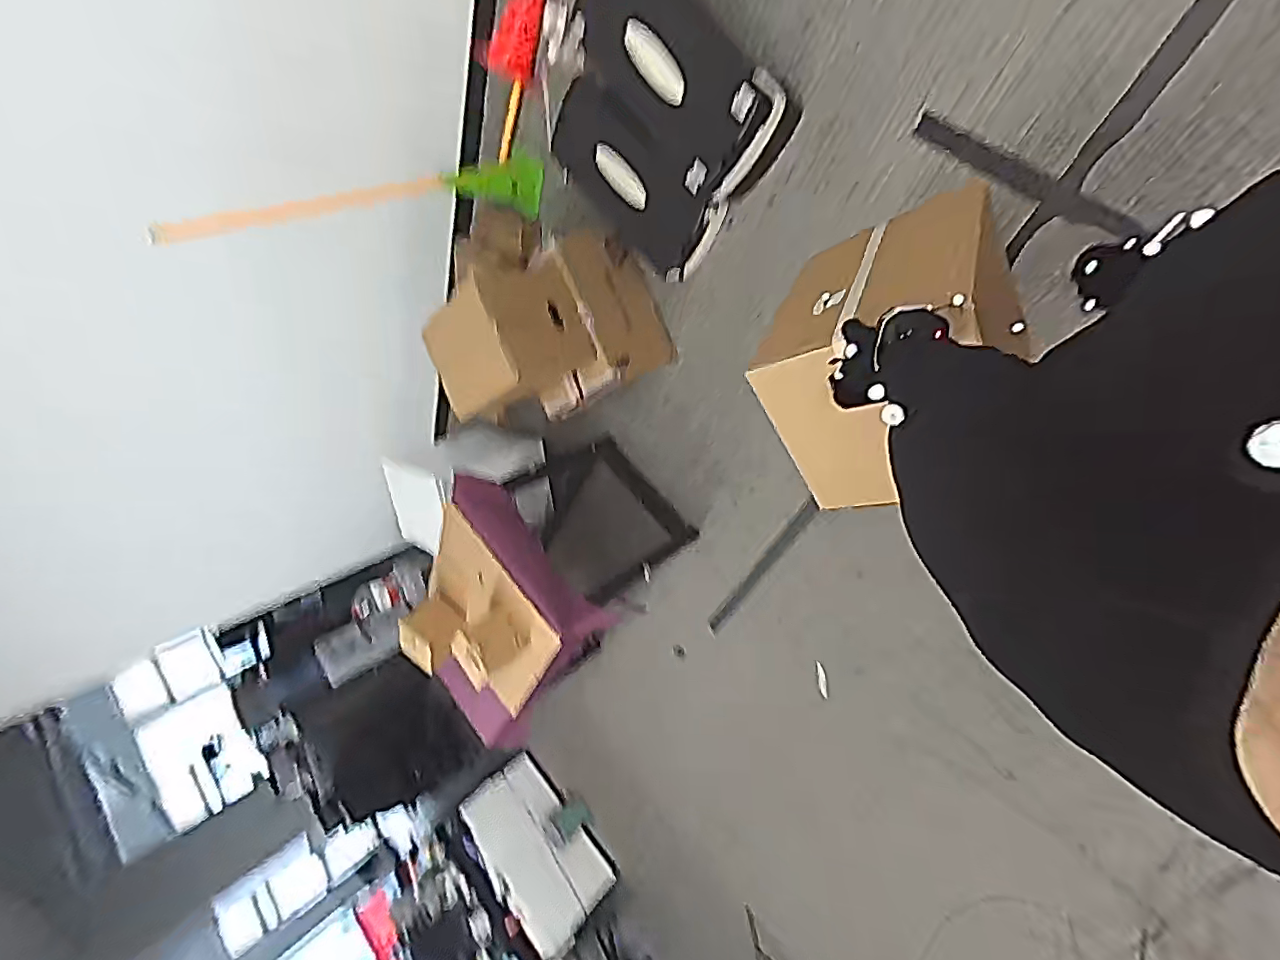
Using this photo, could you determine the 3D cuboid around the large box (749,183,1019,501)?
[{"bbox_3d":[0.436,-0.221,0.926,0.320,0.408,0.320,-11,128,42],"label":"large box"}]
